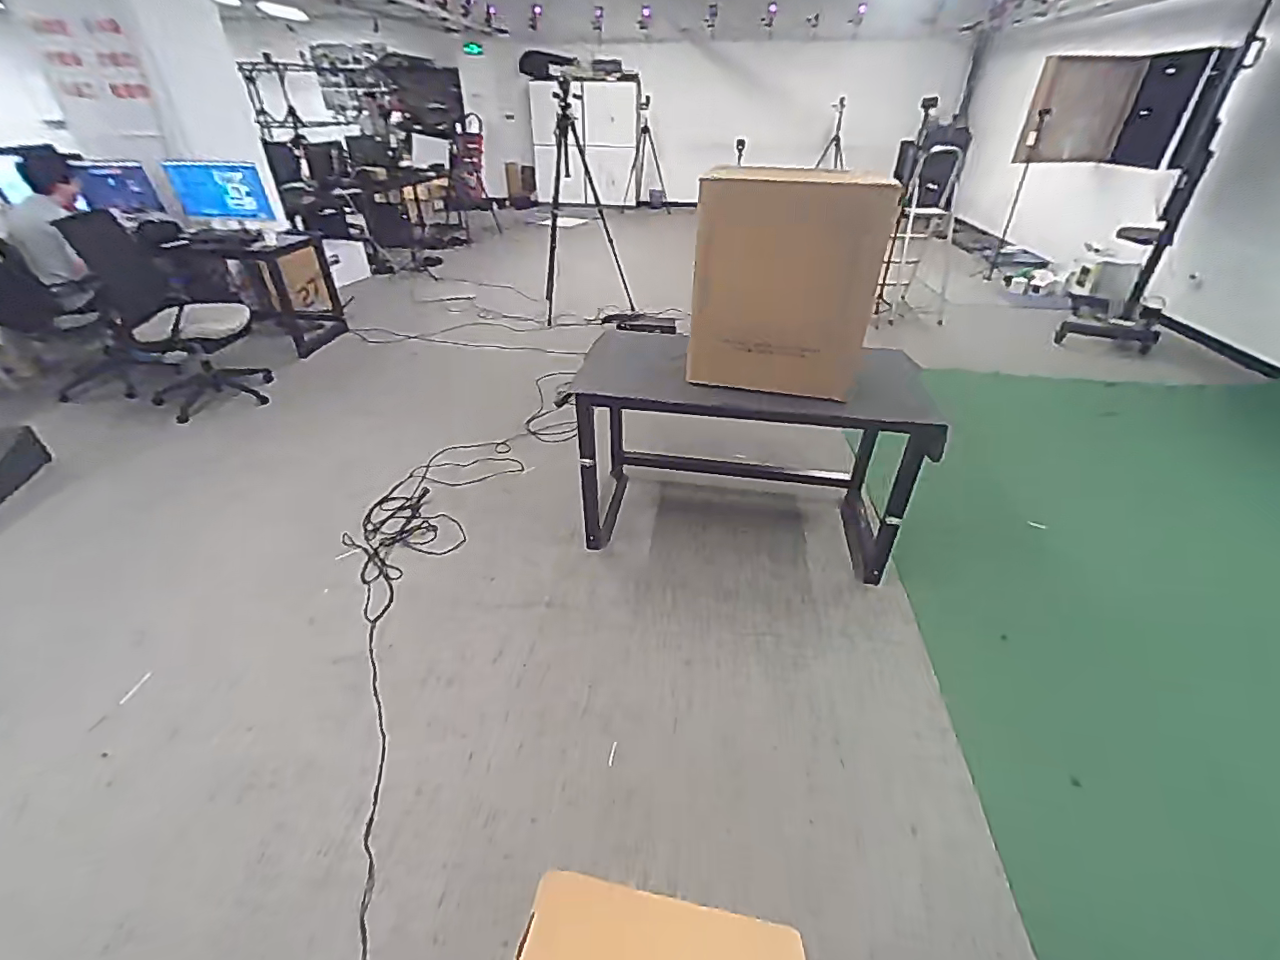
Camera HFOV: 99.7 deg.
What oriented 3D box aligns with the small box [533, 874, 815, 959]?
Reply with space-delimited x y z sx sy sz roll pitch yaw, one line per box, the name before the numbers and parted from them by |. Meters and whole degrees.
small box | 0.005 0.378 0.300 0.179 0.176 0.168 11 12 3
